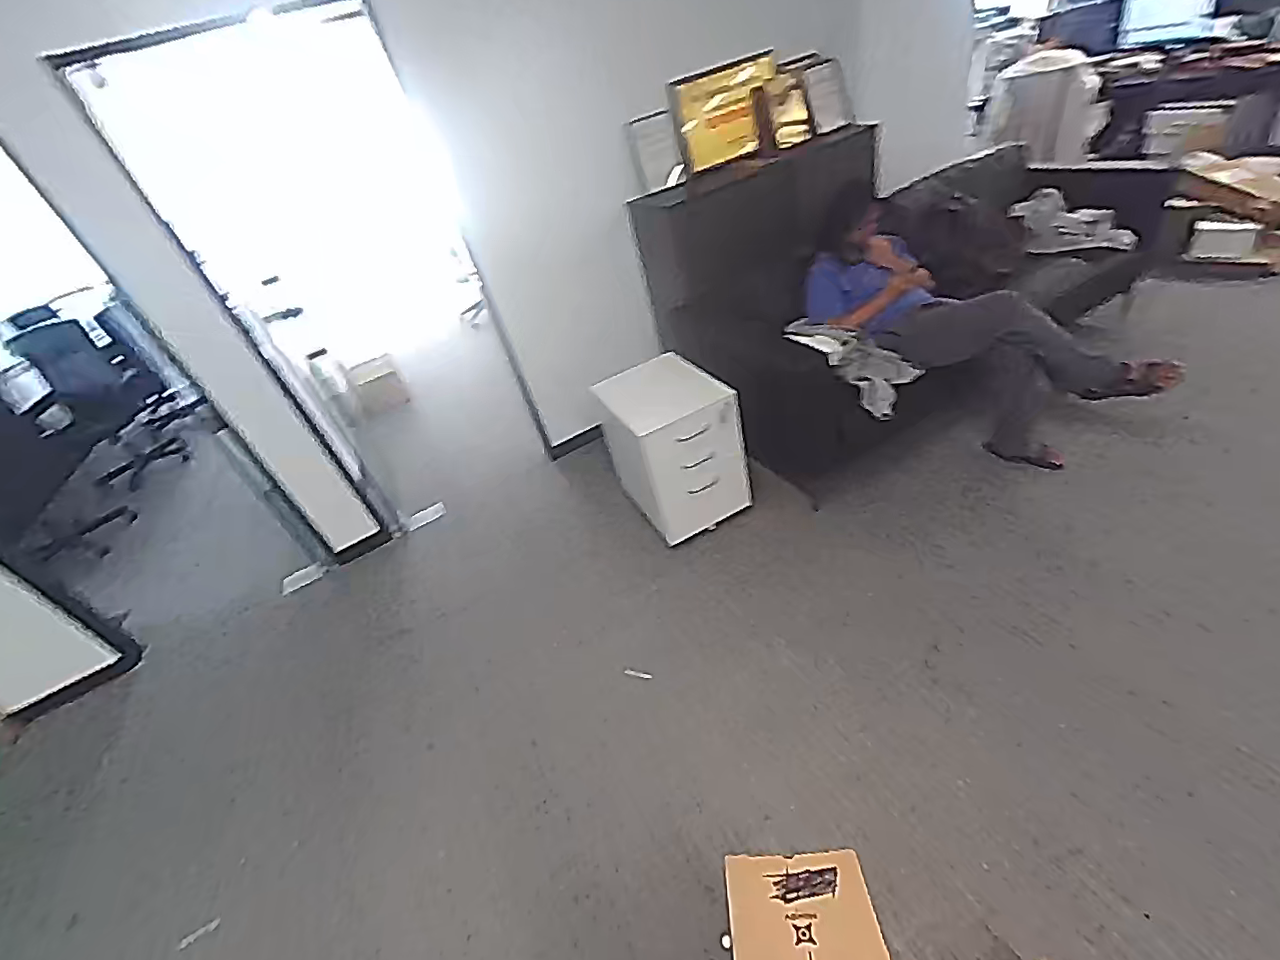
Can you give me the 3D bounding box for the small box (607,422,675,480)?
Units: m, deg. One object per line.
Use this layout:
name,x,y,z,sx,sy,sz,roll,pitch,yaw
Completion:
small box,0.008,-0.113,2.136,0.179,0.176,0.168,-34,-9,23
